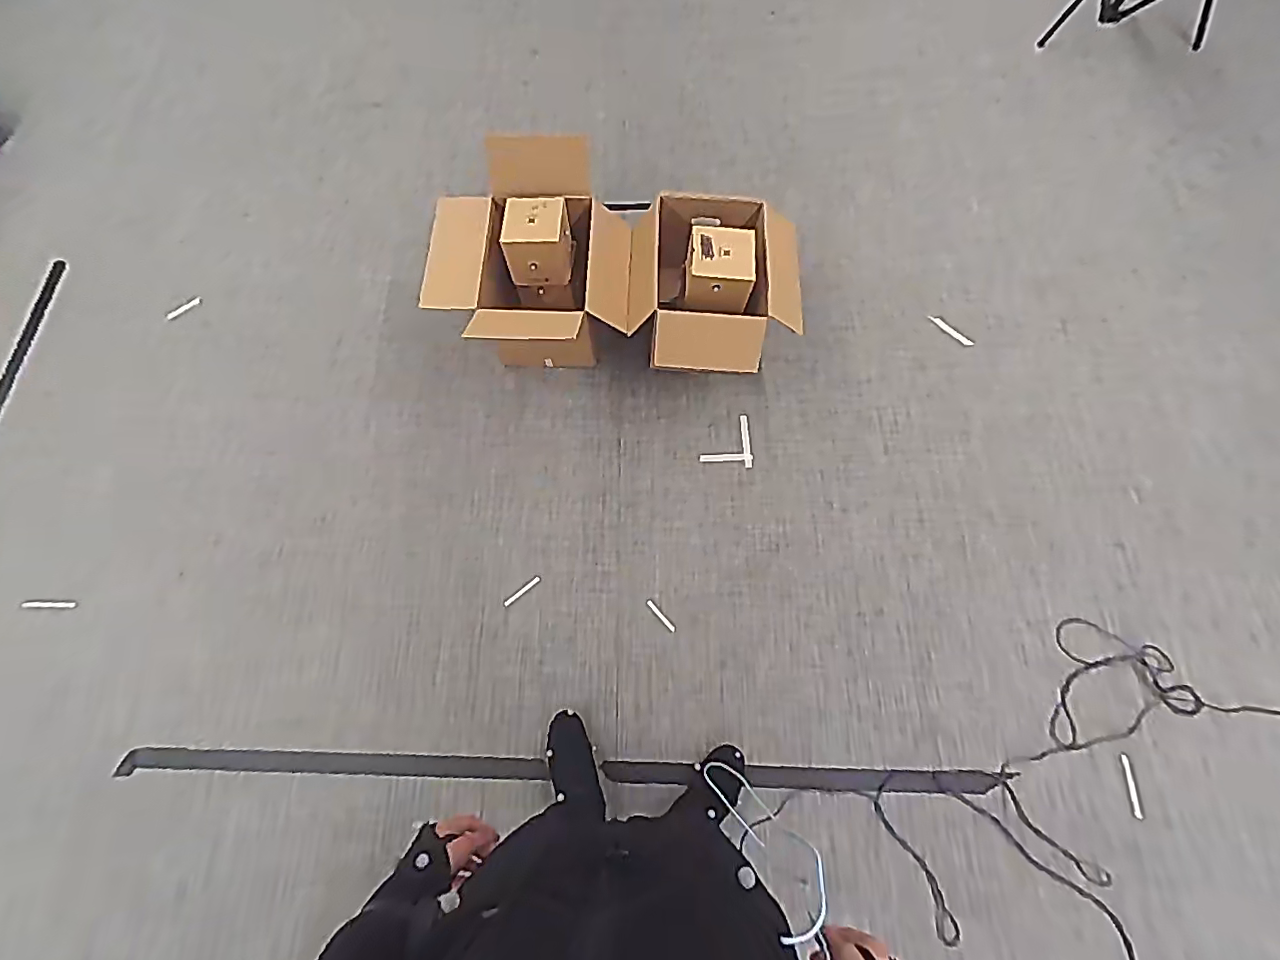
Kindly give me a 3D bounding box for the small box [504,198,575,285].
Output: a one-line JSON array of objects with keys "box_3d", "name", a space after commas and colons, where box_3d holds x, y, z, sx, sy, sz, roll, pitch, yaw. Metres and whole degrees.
[{"box_3d": [-0.286, -0.693, 1.584, 0.168, 0.176, 0.179, 1, 66, 2], "name": "small box"}]
